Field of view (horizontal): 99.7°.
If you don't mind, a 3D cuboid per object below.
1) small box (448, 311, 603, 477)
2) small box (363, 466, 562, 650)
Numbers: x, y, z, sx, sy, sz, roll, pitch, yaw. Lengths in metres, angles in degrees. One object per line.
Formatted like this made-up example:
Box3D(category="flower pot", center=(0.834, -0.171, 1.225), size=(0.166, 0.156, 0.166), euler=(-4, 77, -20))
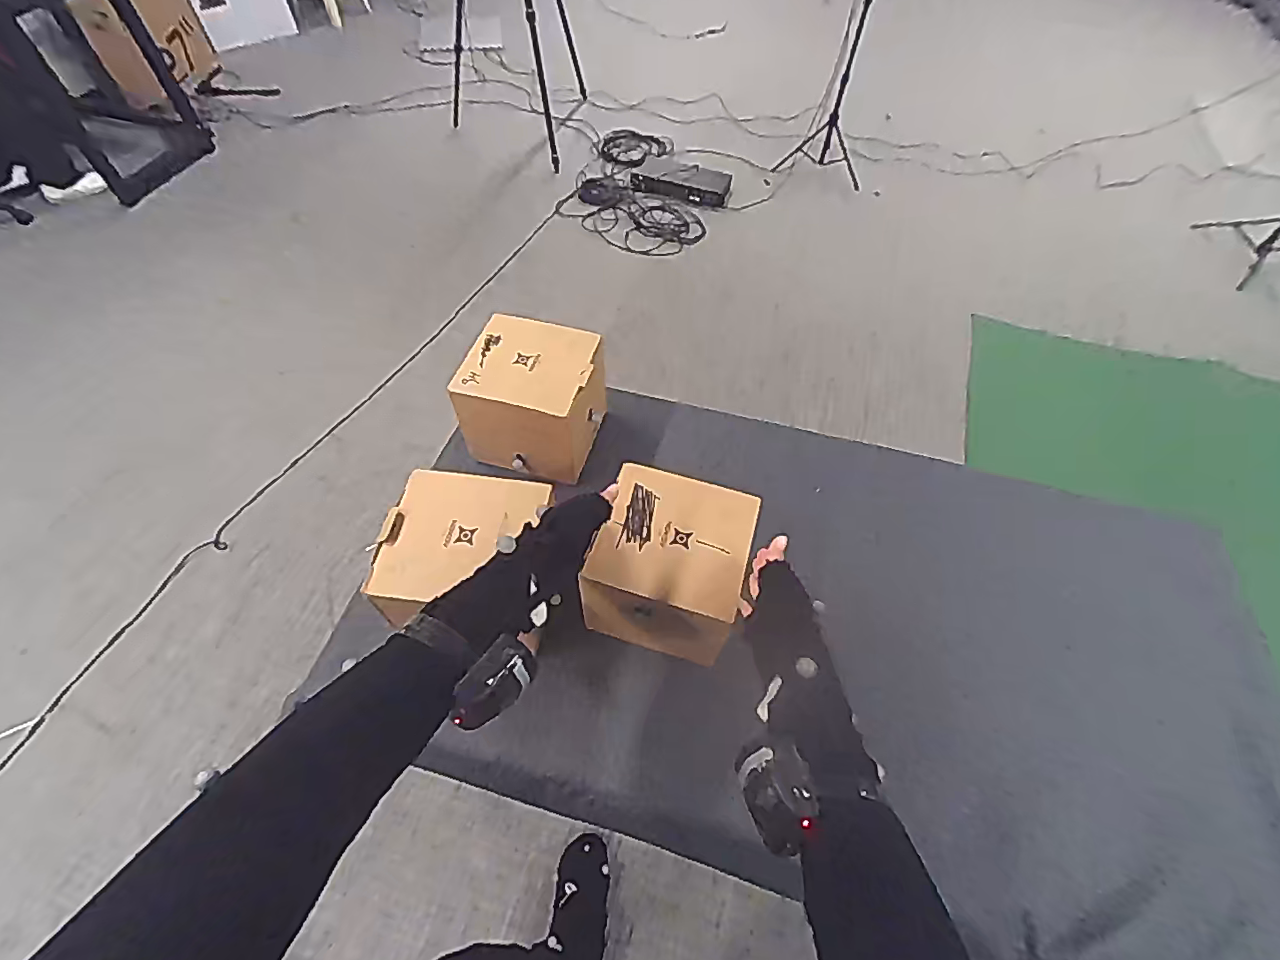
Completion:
Box3D(category="small box", center=(-0.162, -0.126, 0.834), size=(0.179, 0.176, 0.168), euler=(14, 58, 6))
Box3D(category="small box", center=(-0.204, 0.104, 0.681), size=(0.179, 0.176, 0.168), euler=(7, 56, 1))
